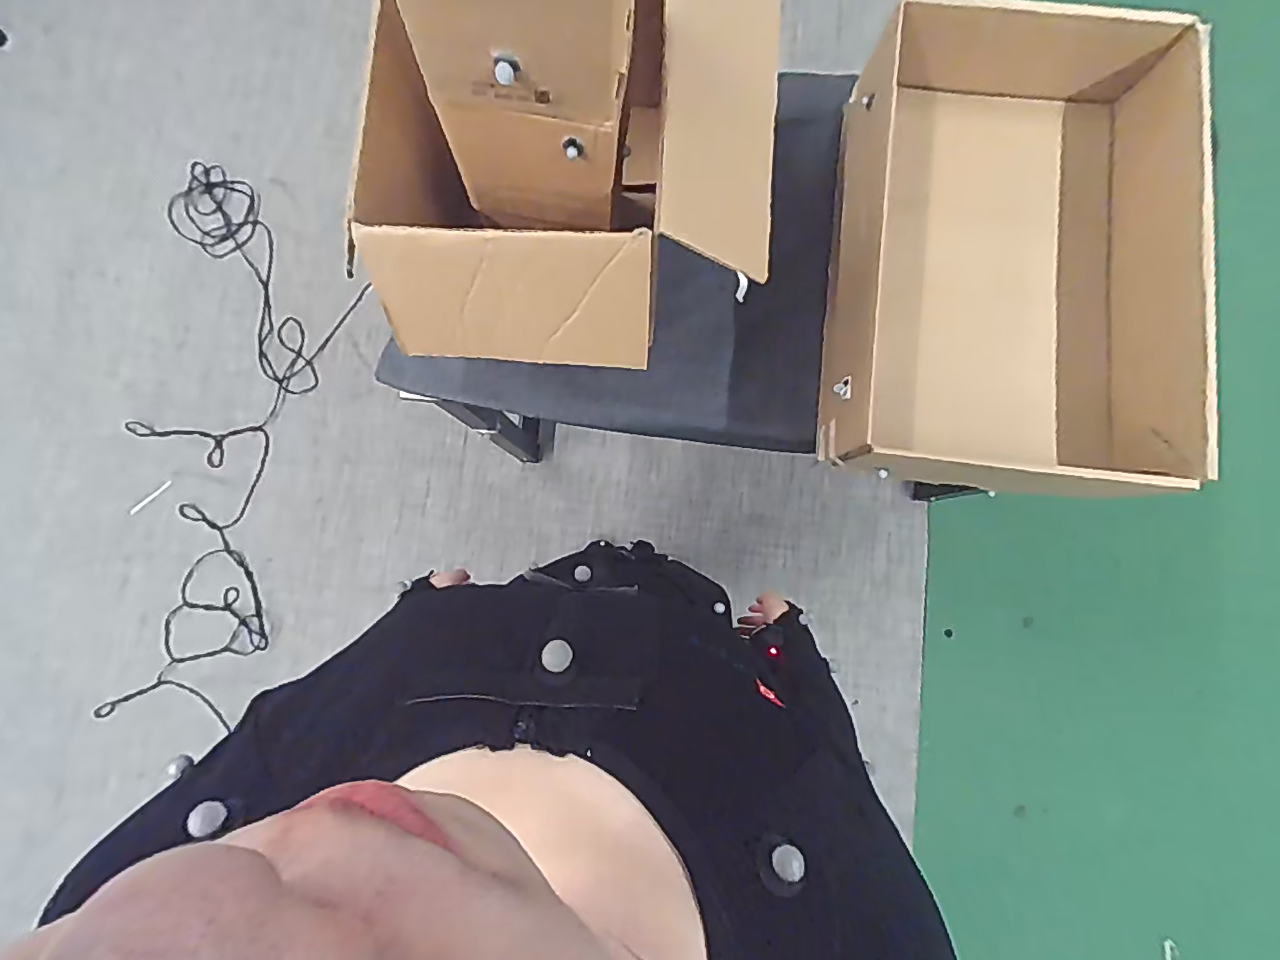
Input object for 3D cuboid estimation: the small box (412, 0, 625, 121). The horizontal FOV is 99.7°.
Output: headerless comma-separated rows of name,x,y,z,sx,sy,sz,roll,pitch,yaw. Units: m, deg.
small box,-0.094,-0.439,0.434,0.168,0.176,0.179,5,83,-4
